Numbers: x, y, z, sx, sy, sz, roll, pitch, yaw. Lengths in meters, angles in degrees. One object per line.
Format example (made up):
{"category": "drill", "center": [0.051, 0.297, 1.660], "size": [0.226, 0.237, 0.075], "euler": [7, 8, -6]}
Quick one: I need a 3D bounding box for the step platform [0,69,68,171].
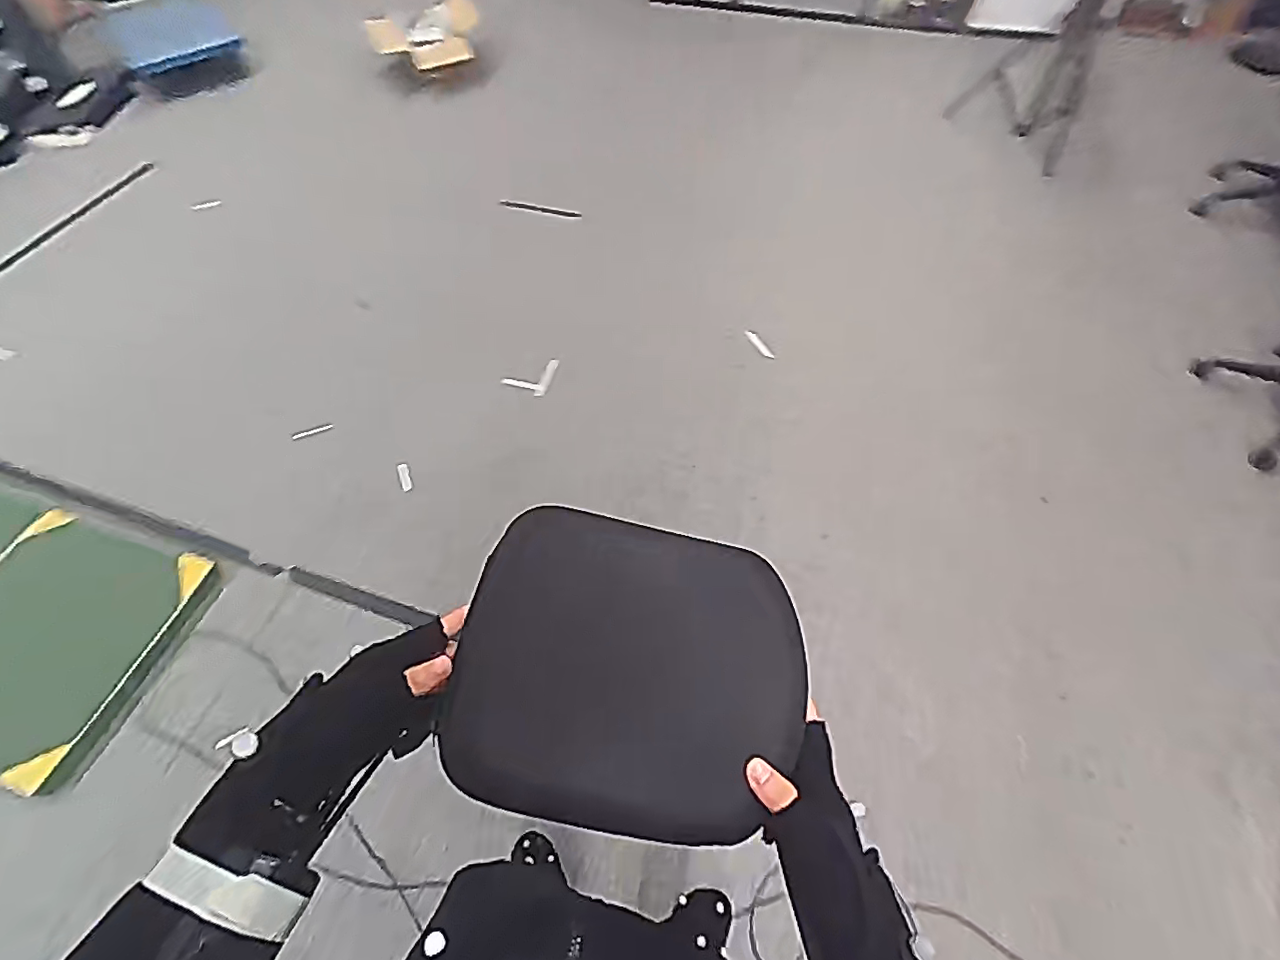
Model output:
{"category": "step platform", "center": [-3.280, -1.856, 2.773], "size": [0.286, 0.204, 0.684], "euler": [-10, 59, -6]}
